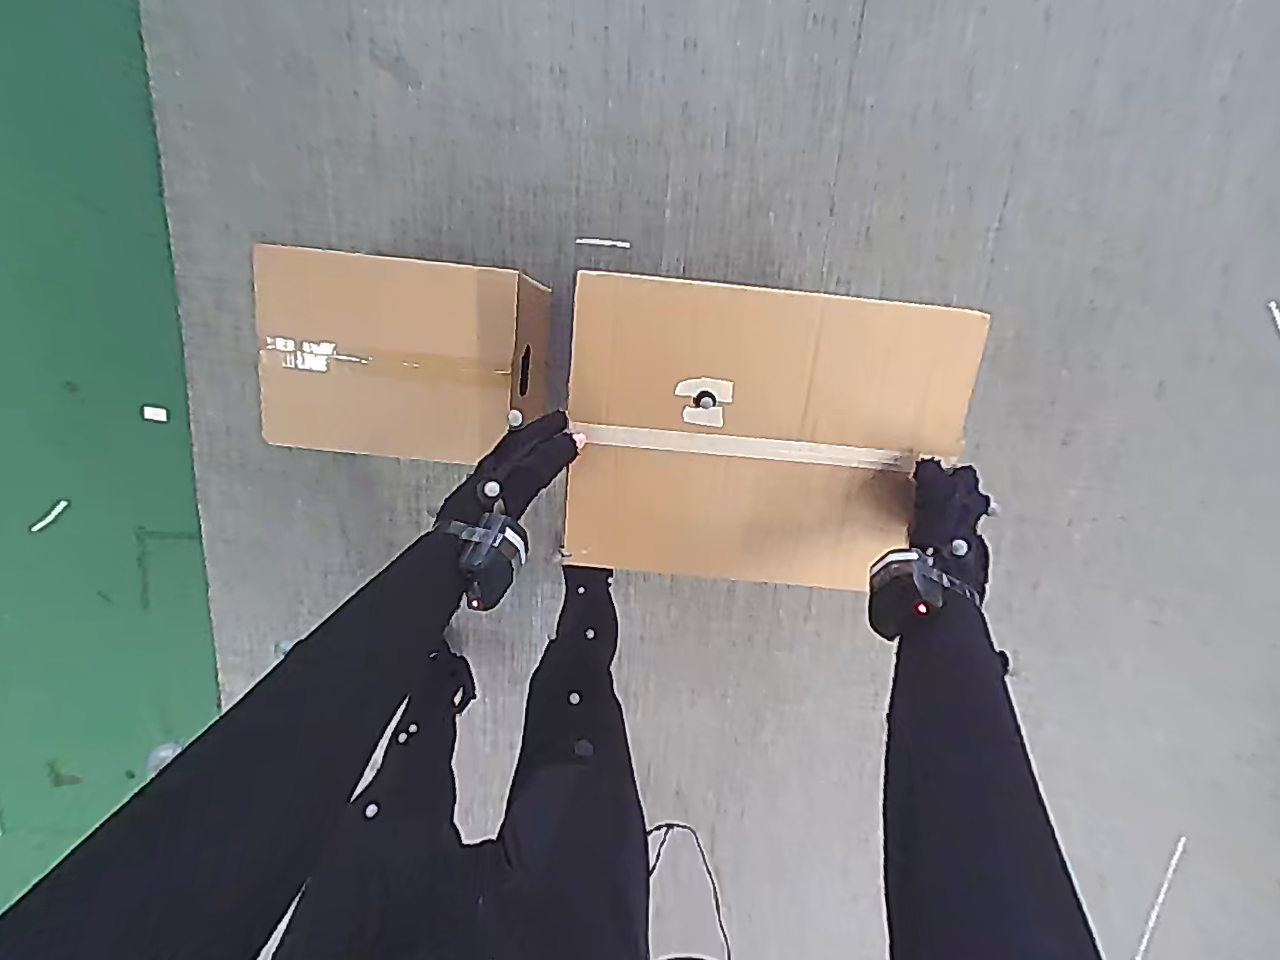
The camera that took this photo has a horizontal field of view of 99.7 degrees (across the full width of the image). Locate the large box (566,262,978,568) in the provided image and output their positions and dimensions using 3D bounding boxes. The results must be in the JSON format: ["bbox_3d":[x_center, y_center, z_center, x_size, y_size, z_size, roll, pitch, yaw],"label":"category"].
[{"bbox_3d":[0.128,-0.105,0.713,0.408,0.320,0.320,5,109,0],"label":"large box"}]
